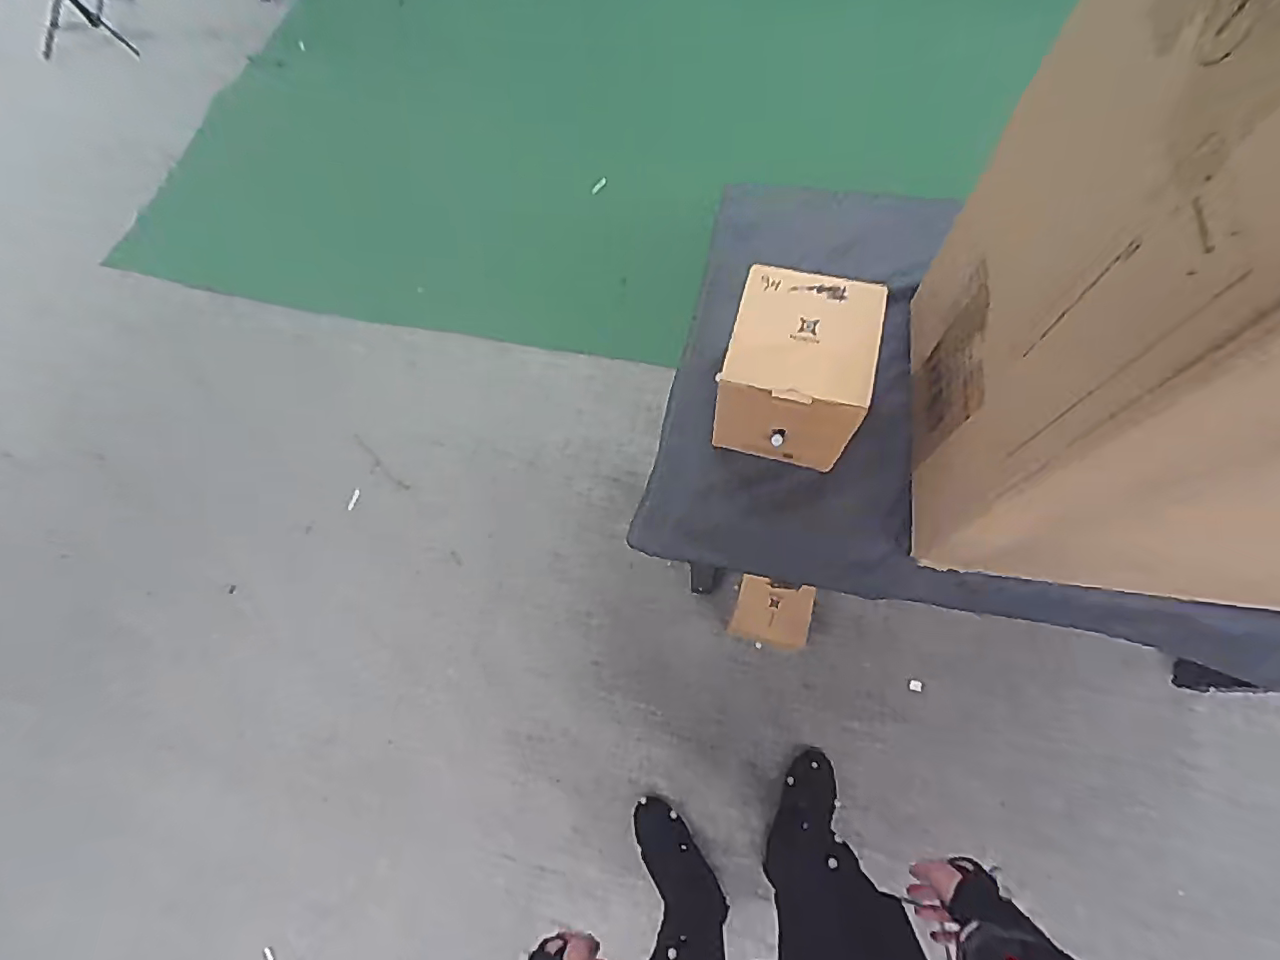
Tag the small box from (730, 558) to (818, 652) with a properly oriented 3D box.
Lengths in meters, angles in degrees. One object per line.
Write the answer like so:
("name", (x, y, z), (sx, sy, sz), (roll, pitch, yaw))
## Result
("small box", (0.318, 0.308, 1.312), (0.168, 0.176, 0.179), (14, 73, 12))
